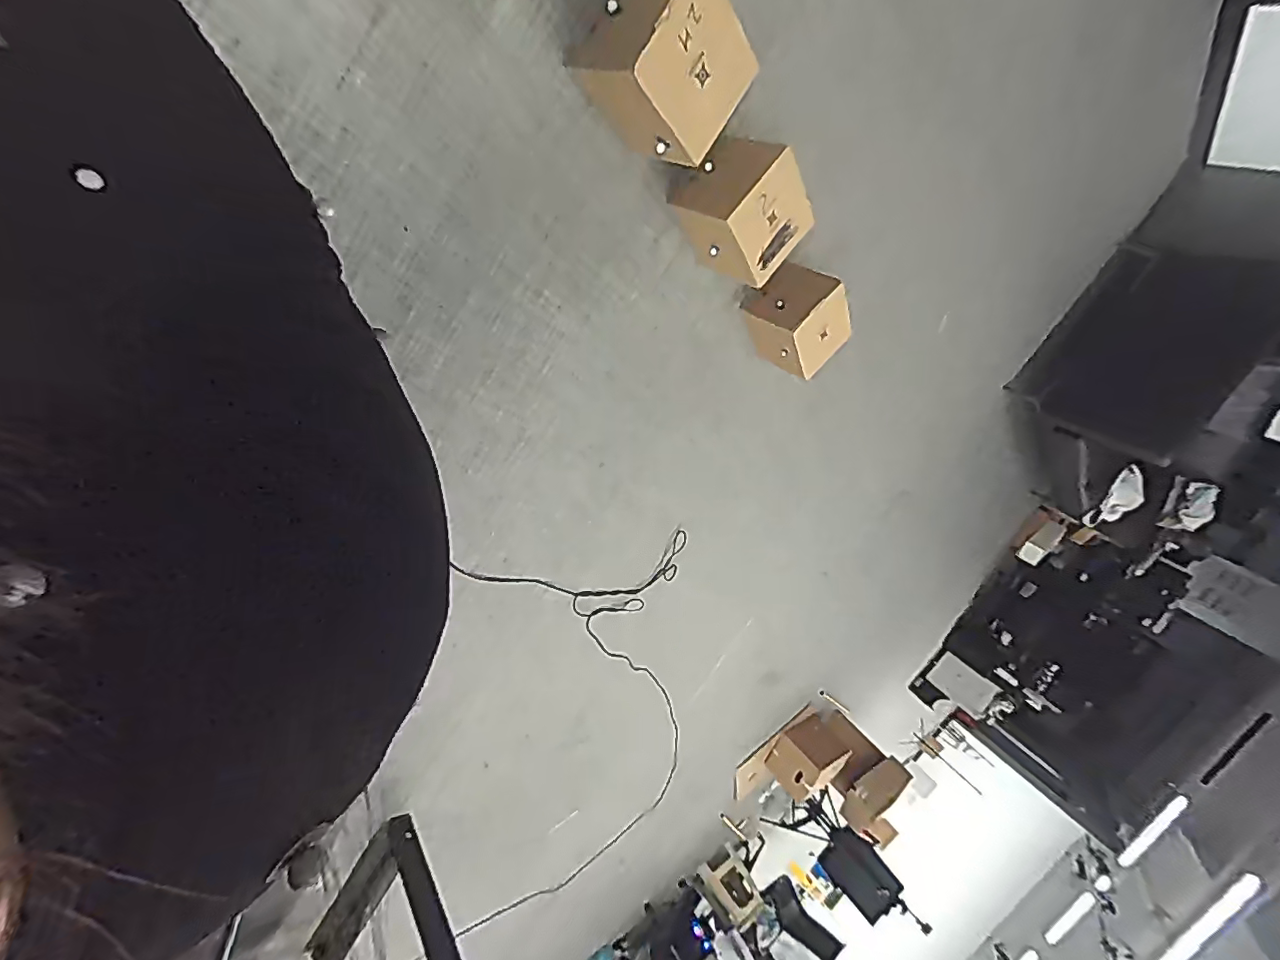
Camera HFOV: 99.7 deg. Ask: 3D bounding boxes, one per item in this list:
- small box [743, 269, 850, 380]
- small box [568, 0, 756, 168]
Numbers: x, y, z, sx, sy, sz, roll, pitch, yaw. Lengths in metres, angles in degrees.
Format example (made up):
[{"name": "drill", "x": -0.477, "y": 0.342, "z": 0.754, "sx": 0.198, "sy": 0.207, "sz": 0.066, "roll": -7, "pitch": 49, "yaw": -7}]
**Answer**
[{"name": "small box", "x": 0.369, "y": -0.377, "z": 1.286, "sx": 0.168, "sy": 0.176, "sz": 0.179, "roll": -45, "pitch": 141, "yaw": -4}, {"name": "small box", "x": 0.031, "y": -0.601, "z": 0.791, "sx": 0.179, "sy": 0.176, "sz": 0.168, "roll": 25, "pitch": 101, "yaw": -50}]
